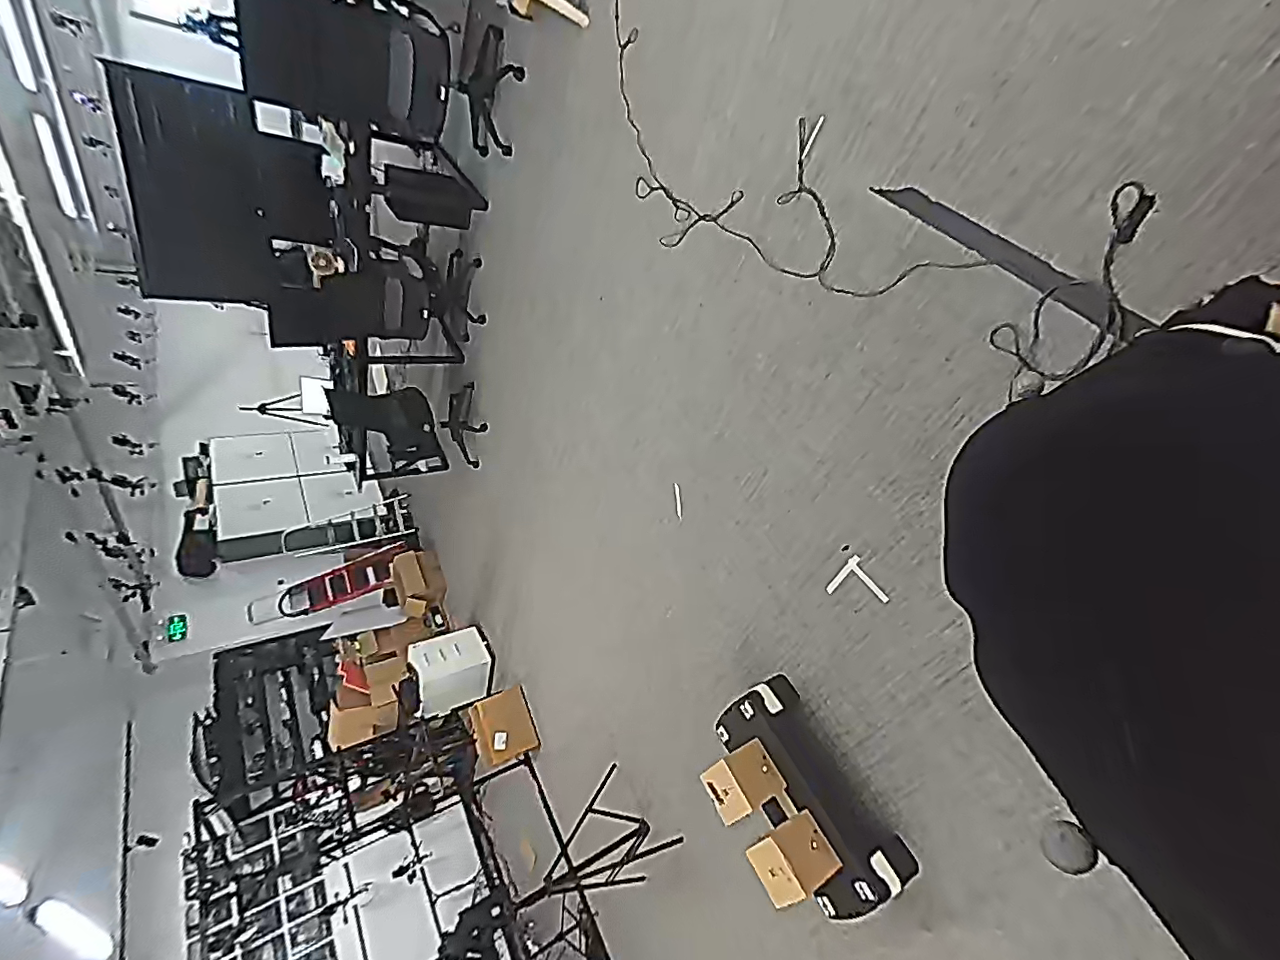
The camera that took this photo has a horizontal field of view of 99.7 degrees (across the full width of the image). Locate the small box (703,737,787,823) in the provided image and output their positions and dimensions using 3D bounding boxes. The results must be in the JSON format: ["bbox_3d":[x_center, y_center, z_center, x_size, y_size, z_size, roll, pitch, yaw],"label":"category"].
[{"bbox_3d":[0.344,0.974,1.759,0.168,0.176,0.179,56,137,30],"label":"small box"}]

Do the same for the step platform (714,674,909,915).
[{"bbox_3d":[0.535,1.025,1.804,0.684,0.204,0.286,54,138,31],"label":"step platform"}]

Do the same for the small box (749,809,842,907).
[{"bbox_3d":[0.467,1.130,1.622,0.168,0.176,0.179,55,138,31],"label":"small box"}]
